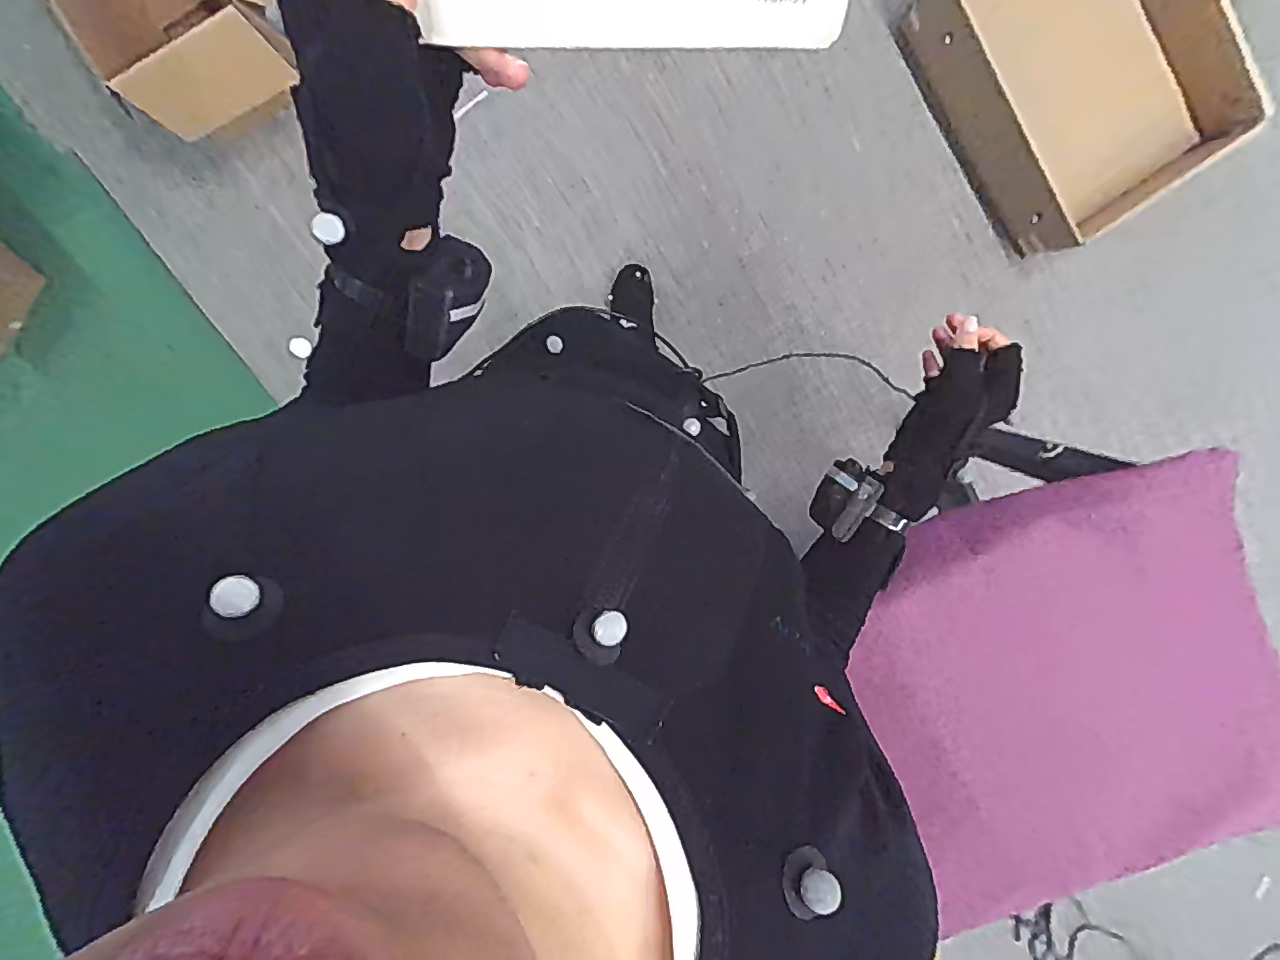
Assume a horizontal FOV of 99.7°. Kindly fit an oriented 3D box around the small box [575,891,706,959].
[{"bbox_3d":[0.003,0.779,0.832,0.168,0.176,0.179,-24,101,8],"label":"small box"}]
